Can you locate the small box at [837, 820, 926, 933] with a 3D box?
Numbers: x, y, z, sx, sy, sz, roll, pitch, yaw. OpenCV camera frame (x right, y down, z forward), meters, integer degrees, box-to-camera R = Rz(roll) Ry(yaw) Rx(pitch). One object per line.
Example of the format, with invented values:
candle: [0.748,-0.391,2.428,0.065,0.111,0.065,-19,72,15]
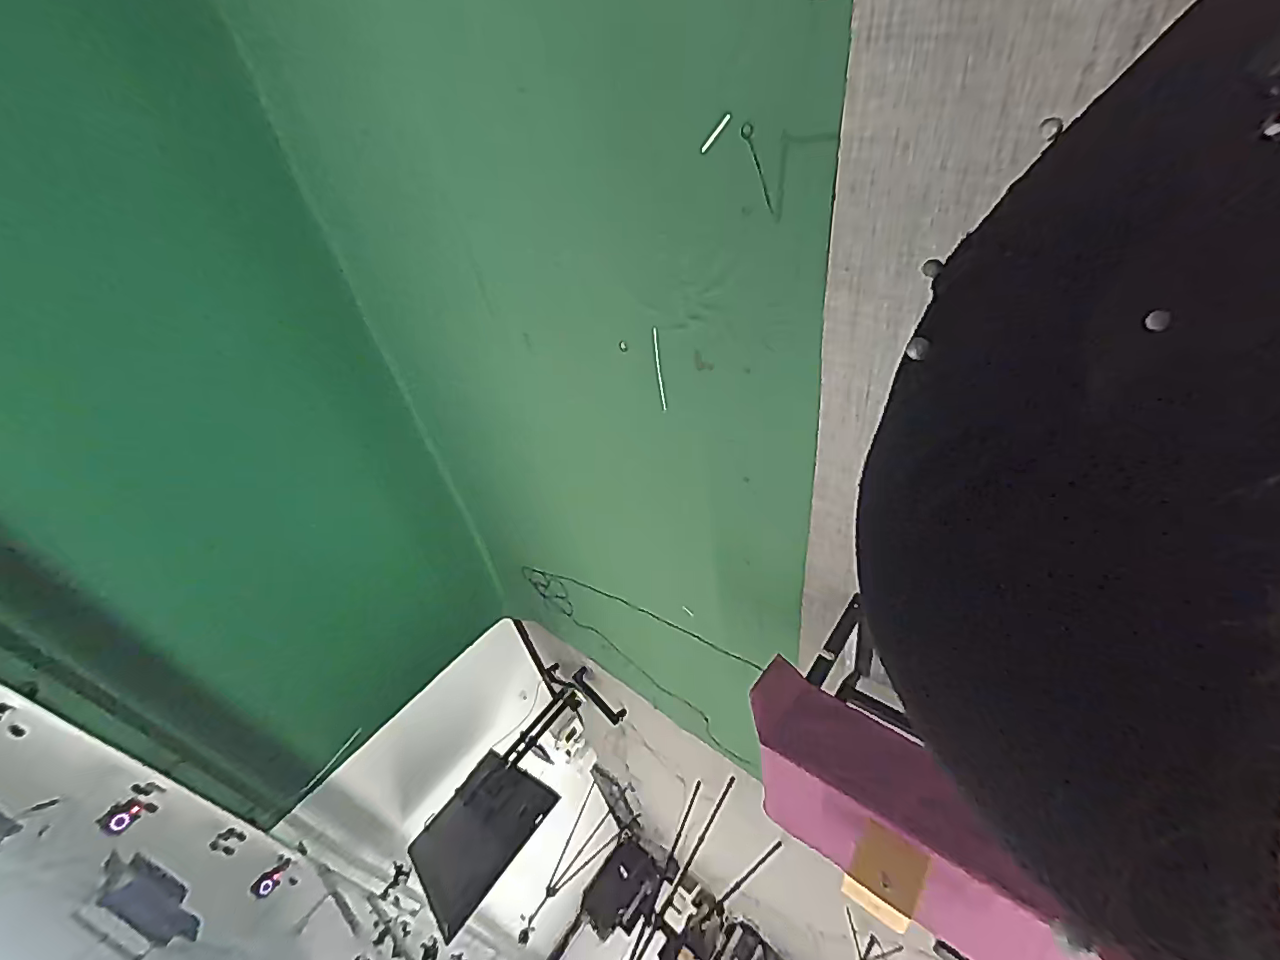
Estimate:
small box: [0.677,1.106,1.517,0.179,0.176,0.168,22,139,34]
